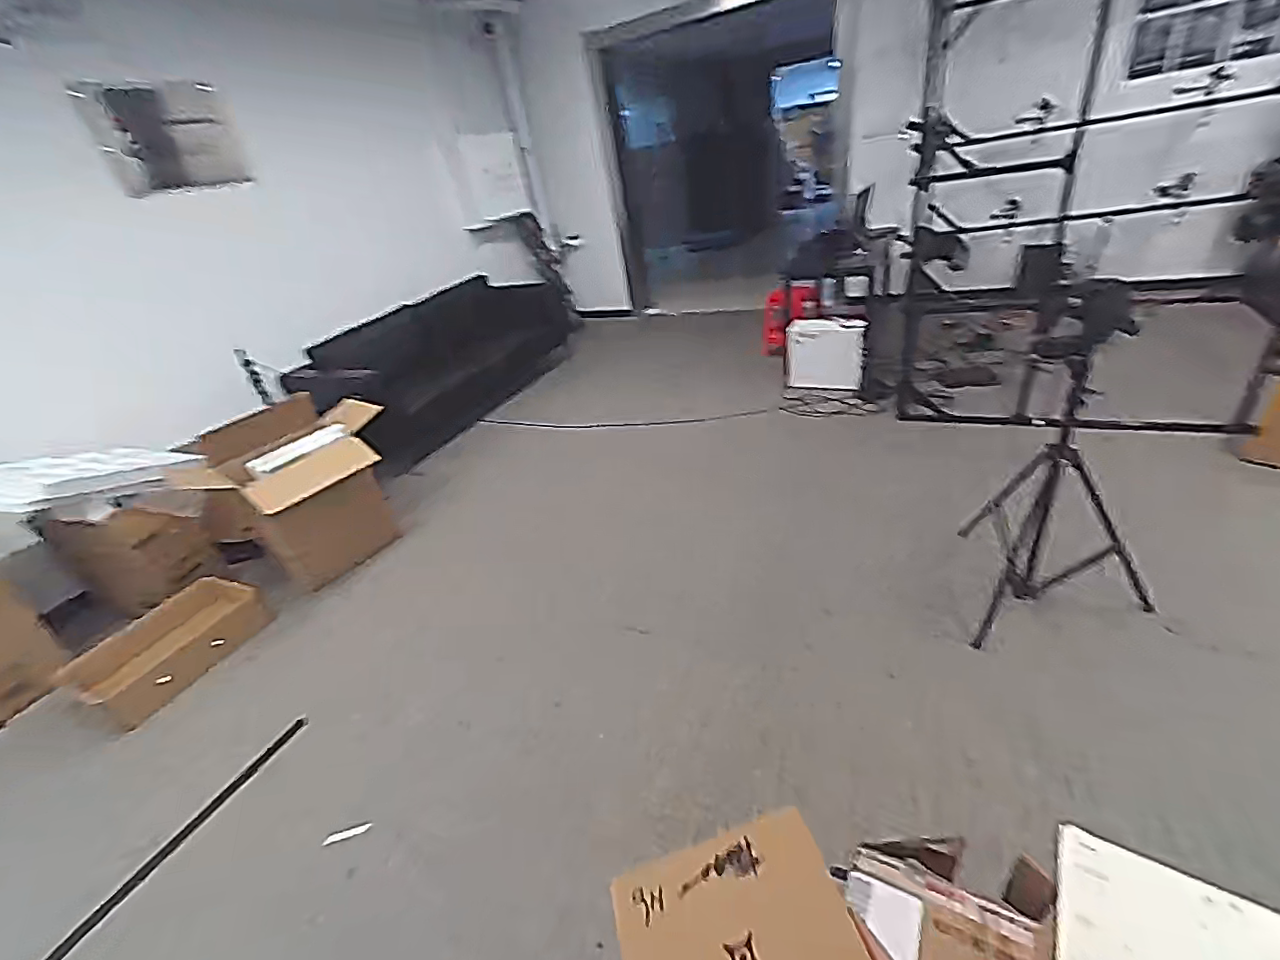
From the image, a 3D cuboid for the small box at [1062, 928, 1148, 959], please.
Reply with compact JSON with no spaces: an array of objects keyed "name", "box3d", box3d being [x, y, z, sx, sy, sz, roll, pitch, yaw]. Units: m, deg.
[{"name":"small box","box3d":[0.488,0.592,0.509,0.168,0.176,0.179,14,40,31]}]
